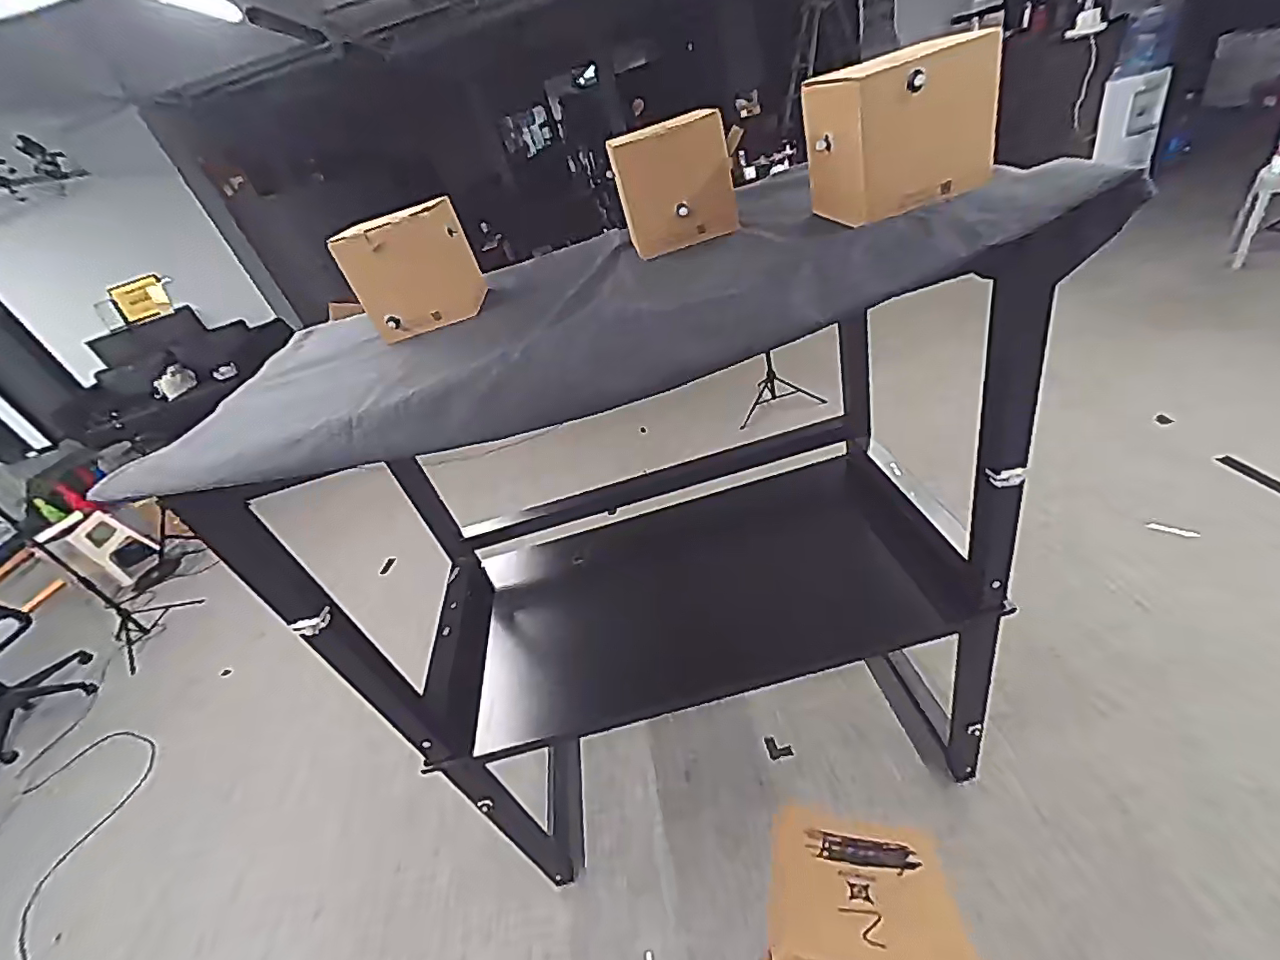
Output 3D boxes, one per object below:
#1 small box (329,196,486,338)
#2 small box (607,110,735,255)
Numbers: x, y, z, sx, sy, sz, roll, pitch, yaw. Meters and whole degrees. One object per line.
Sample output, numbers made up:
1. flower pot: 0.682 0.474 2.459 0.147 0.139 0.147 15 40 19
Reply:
1. small box: -0.378 -0.359 0.920 0.168 0.176 0.179 -16 34 3
2. small box: 0.049 -0.492 0.899 0.168 0.176 0.179 -17 35 4
